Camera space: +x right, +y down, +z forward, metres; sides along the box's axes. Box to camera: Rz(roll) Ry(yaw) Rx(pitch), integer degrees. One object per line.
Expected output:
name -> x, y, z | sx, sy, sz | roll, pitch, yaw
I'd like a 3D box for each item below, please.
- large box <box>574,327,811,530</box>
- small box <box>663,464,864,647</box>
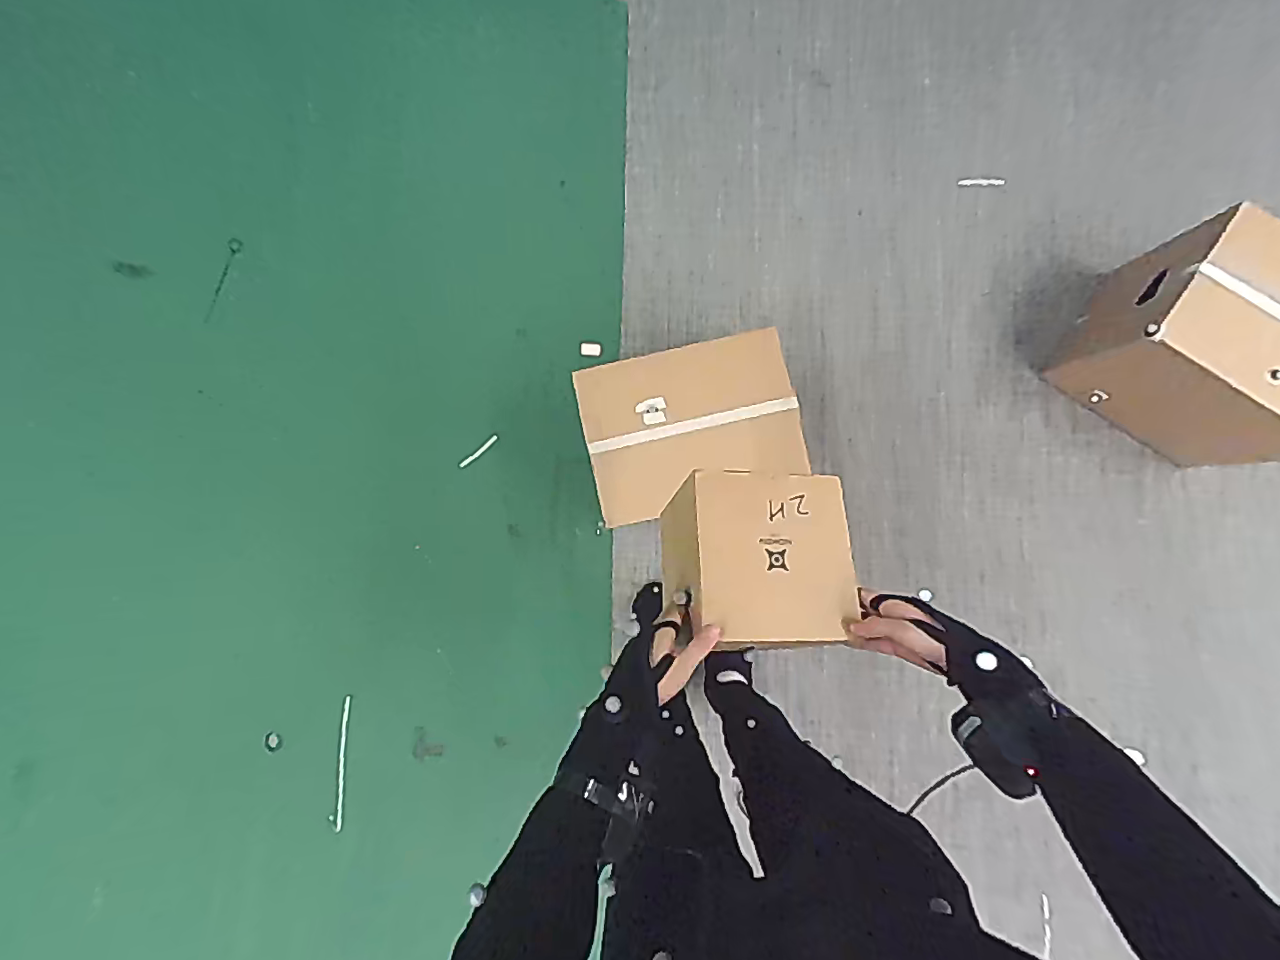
large box -> 0.106, -0.091, 1.170 | 0.408, 0.320, 0.320 | -13, 85, 3
small box -> 0.124, 0.096, 0.616 | 0.168, 0.176, 0.179 | 3, 69, -11
